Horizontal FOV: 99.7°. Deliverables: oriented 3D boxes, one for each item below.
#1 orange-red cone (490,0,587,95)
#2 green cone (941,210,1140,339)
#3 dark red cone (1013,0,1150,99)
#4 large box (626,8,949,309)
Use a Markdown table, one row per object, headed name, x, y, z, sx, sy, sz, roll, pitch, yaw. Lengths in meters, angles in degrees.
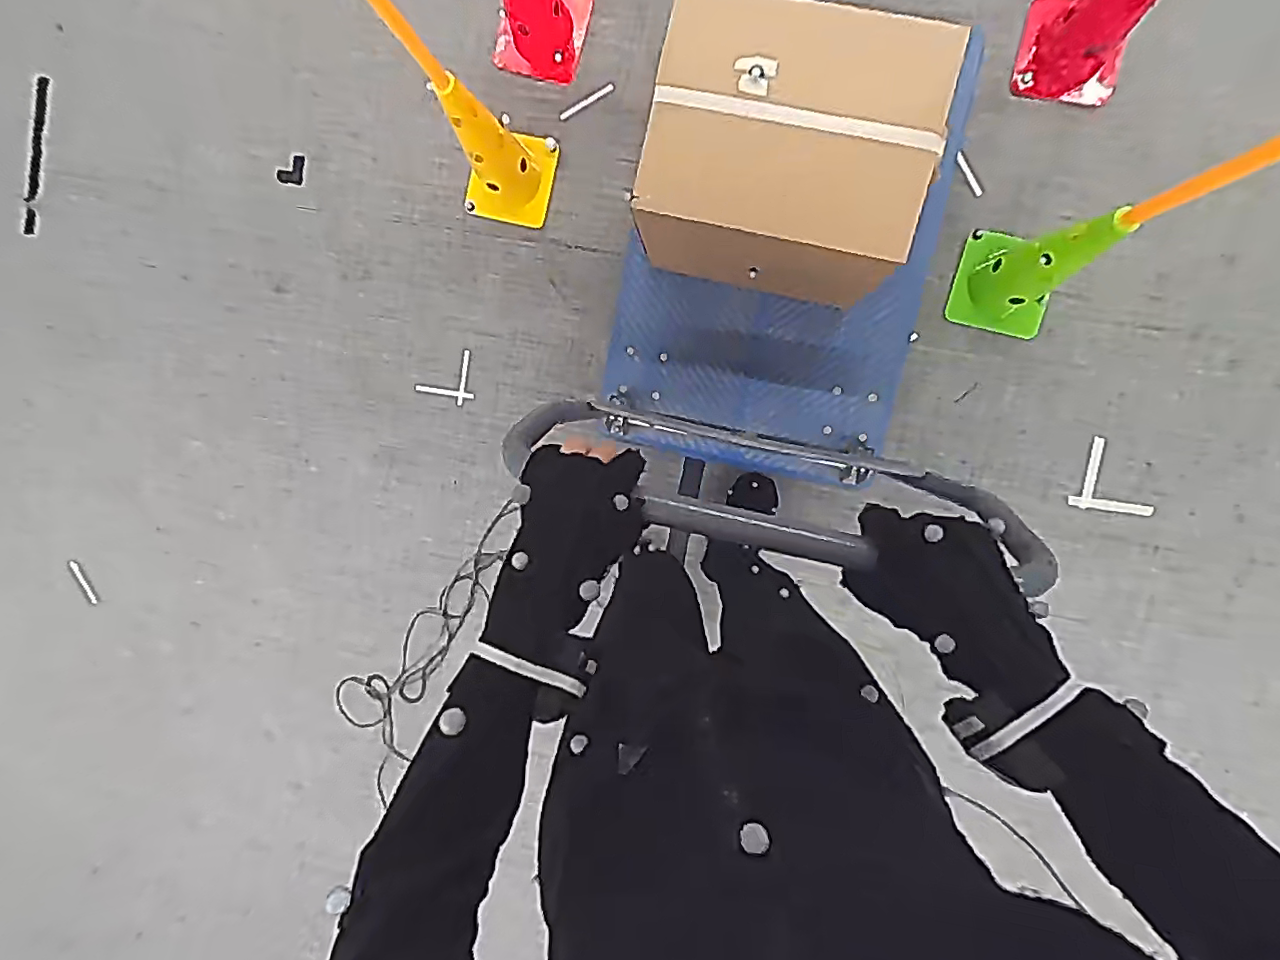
| name | x | y | z | sx | sy | sz | roll | pitch | yaw |
| --- | --- | --- | --- | --- | --- | --- | --- | --- | --- |
| orange-red cone | -0.253 | -1.003 | 1.084 | 0.198 | 0.360 | 0.199 | 18 | 95 | 4 |
| green cone | 0.763 | -0.409 | 1.011 | 0.202 | 0.368 | 0.200 | 14 | 96 | 4 |
| dark red cone | 0.866 | -0.879 | 0.943 | 0.201 | 0.394 | 0.202 | 10 | 96 | 4 |
| large box | 0.222 | -0.506 | 0.923 | 0.408 | 0.320 | 0.320 | 14 | 97 | 6 |
